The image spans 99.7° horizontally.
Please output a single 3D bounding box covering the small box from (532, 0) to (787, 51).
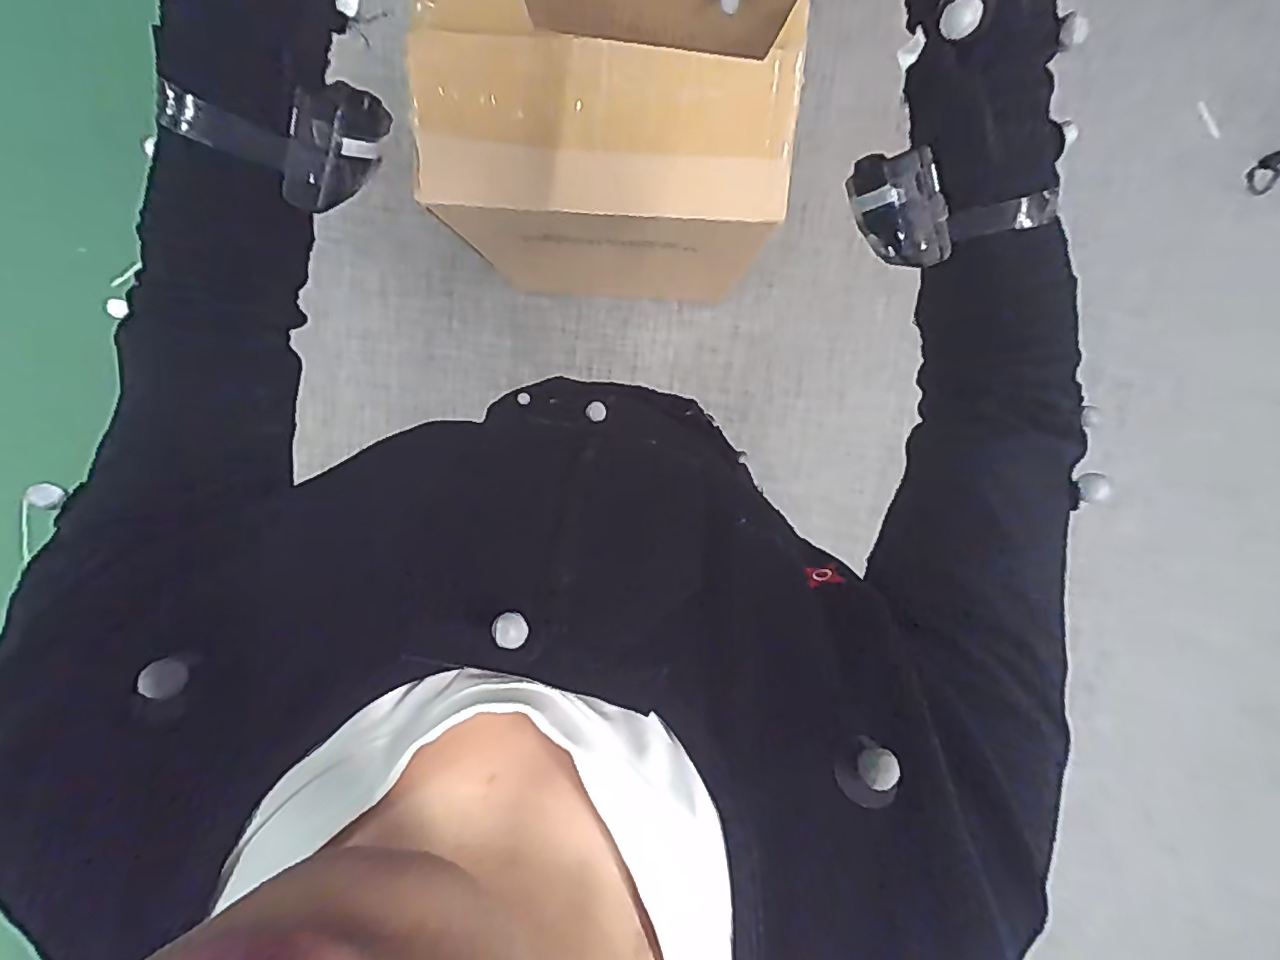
[{"bbox_3d":[0.019,-0.379,0.303,0.179,0.176,0.168,4,104,-1],"label":"small box"}]
